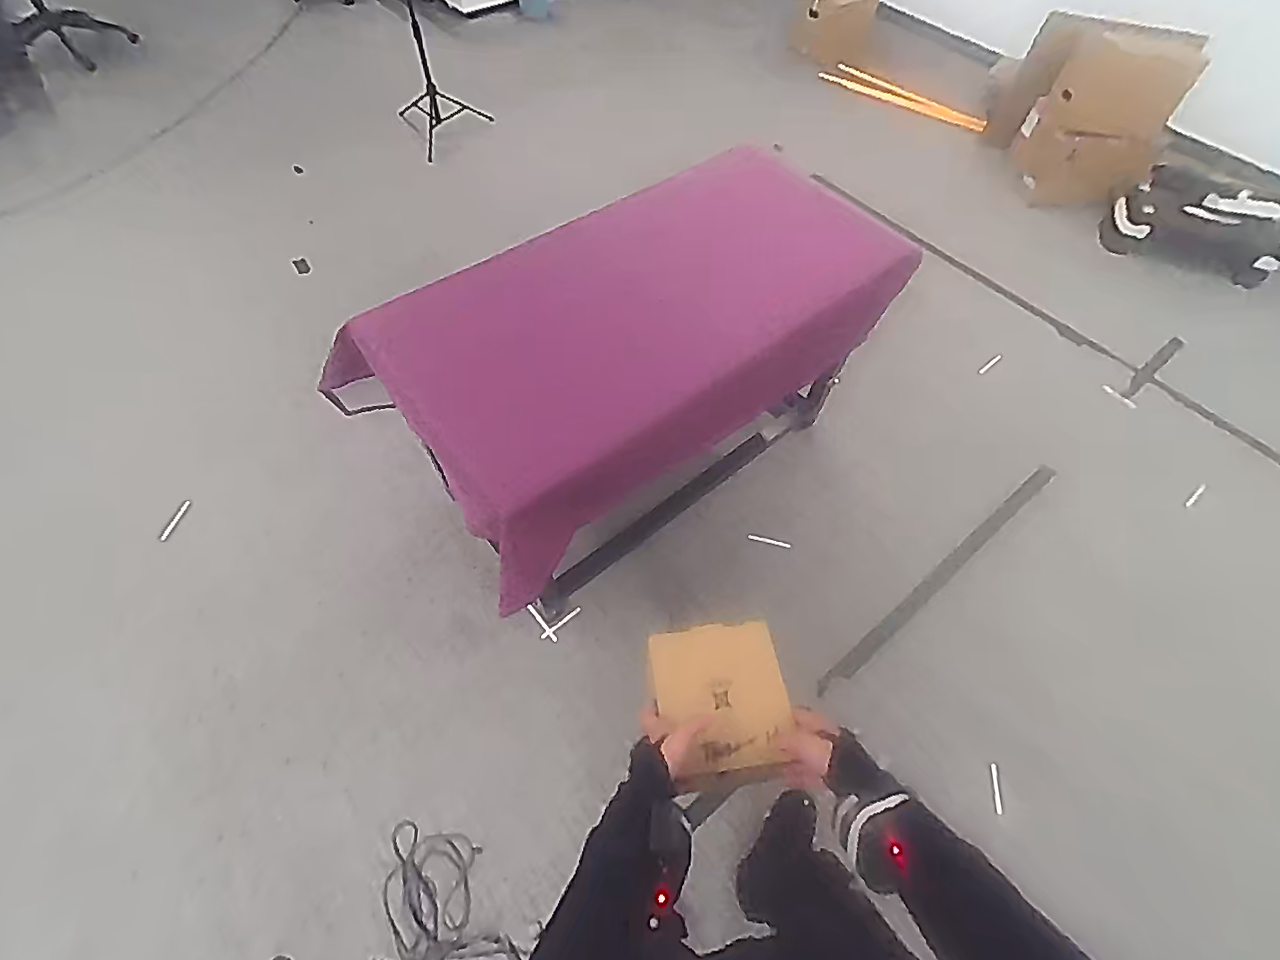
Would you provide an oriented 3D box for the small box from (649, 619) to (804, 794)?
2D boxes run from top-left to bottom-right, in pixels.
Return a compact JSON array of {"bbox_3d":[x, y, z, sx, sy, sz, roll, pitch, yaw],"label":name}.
[{"bbox_3d":[0.103,0.312,0.741,0.168,0.176,0.179,-7,55,-3],"label":"small box"}]
